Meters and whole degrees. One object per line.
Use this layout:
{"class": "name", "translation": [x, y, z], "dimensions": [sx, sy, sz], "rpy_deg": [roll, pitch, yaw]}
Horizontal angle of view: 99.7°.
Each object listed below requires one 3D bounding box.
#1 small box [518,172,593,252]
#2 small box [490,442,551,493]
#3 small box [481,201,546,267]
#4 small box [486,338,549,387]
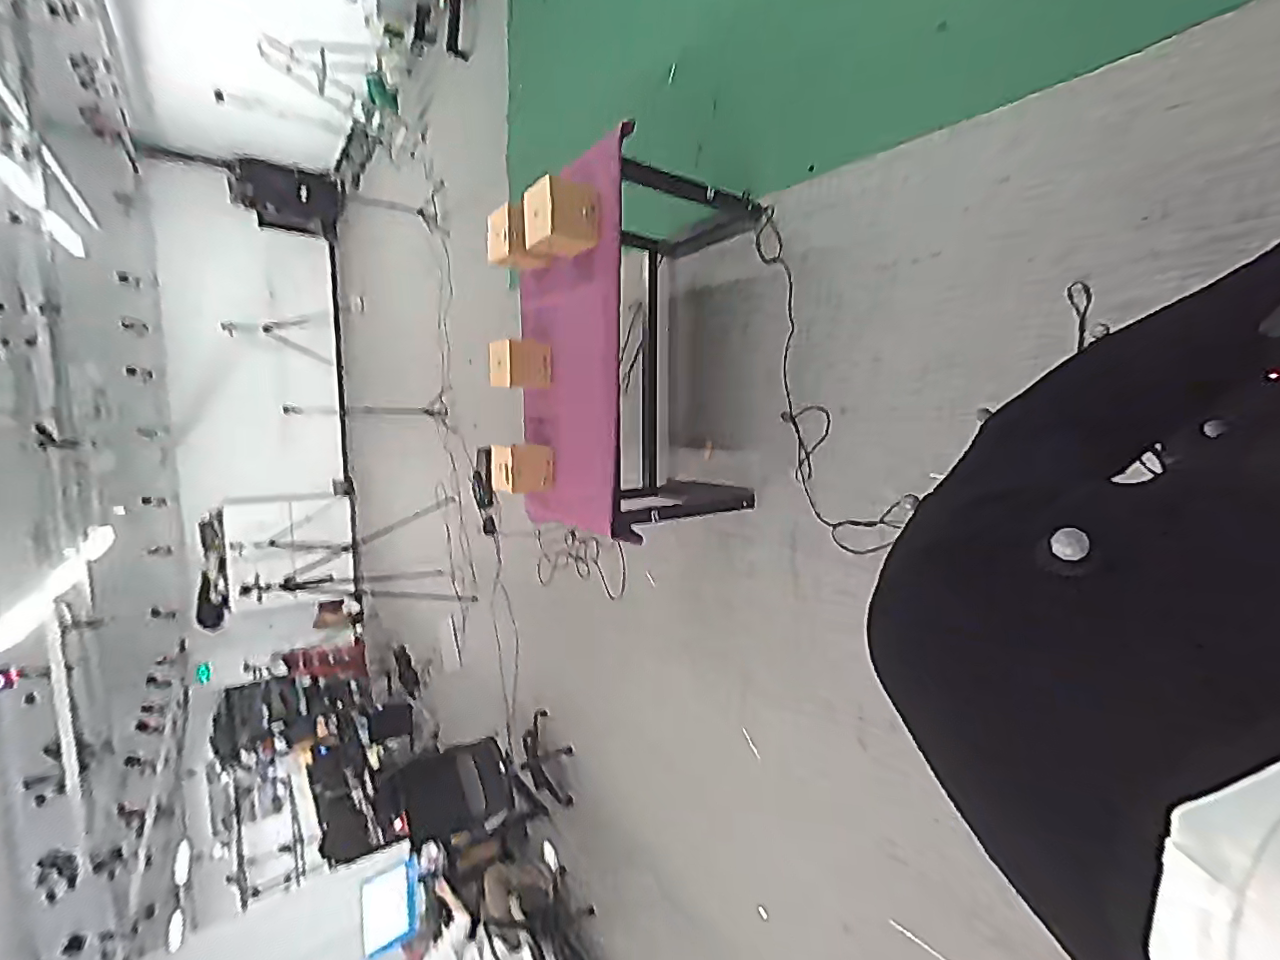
{"class": "small box", "translation": [-0.259, -0.813, 1.662], "dimensions": [0.179, 0.176, 0.168], "rpy_deg": [8, 103, 52]}
{"class": "small box", "translation": [-0.443, -0.051, 2.016], "dimensions": [0.179, 0.176, 0.168], "rpy_deg": [11, 103, 51]}
{"class": "small box", "translation": [-0.444, -0.856, 1.901], "dimensions": [0.179, 0.176, 0.168], "rpy_deg": [11, 105, 51]}
{"class": "small box", "translation": [-0.449, -0.426, 1.974], "dimensions": [0.179, 0.176, 0.168], "rpy_deg": [13, 106, 50]}
